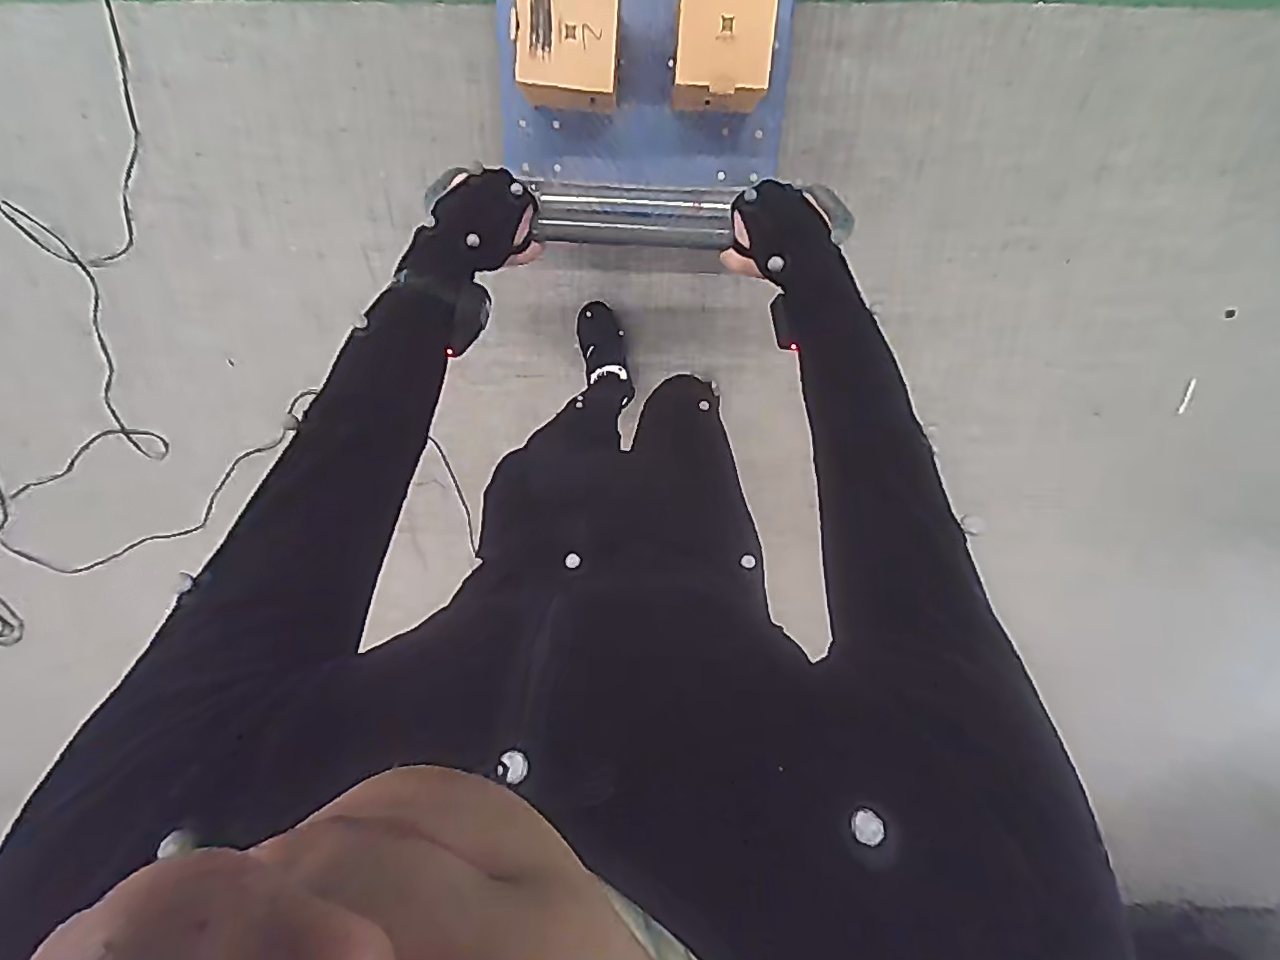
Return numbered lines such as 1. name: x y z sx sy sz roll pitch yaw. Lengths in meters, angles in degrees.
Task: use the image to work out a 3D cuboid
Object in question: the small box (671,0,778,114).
1. small box: 0.148 -0.803 1.001 0.168 0.176 0.179 2 114 -1
